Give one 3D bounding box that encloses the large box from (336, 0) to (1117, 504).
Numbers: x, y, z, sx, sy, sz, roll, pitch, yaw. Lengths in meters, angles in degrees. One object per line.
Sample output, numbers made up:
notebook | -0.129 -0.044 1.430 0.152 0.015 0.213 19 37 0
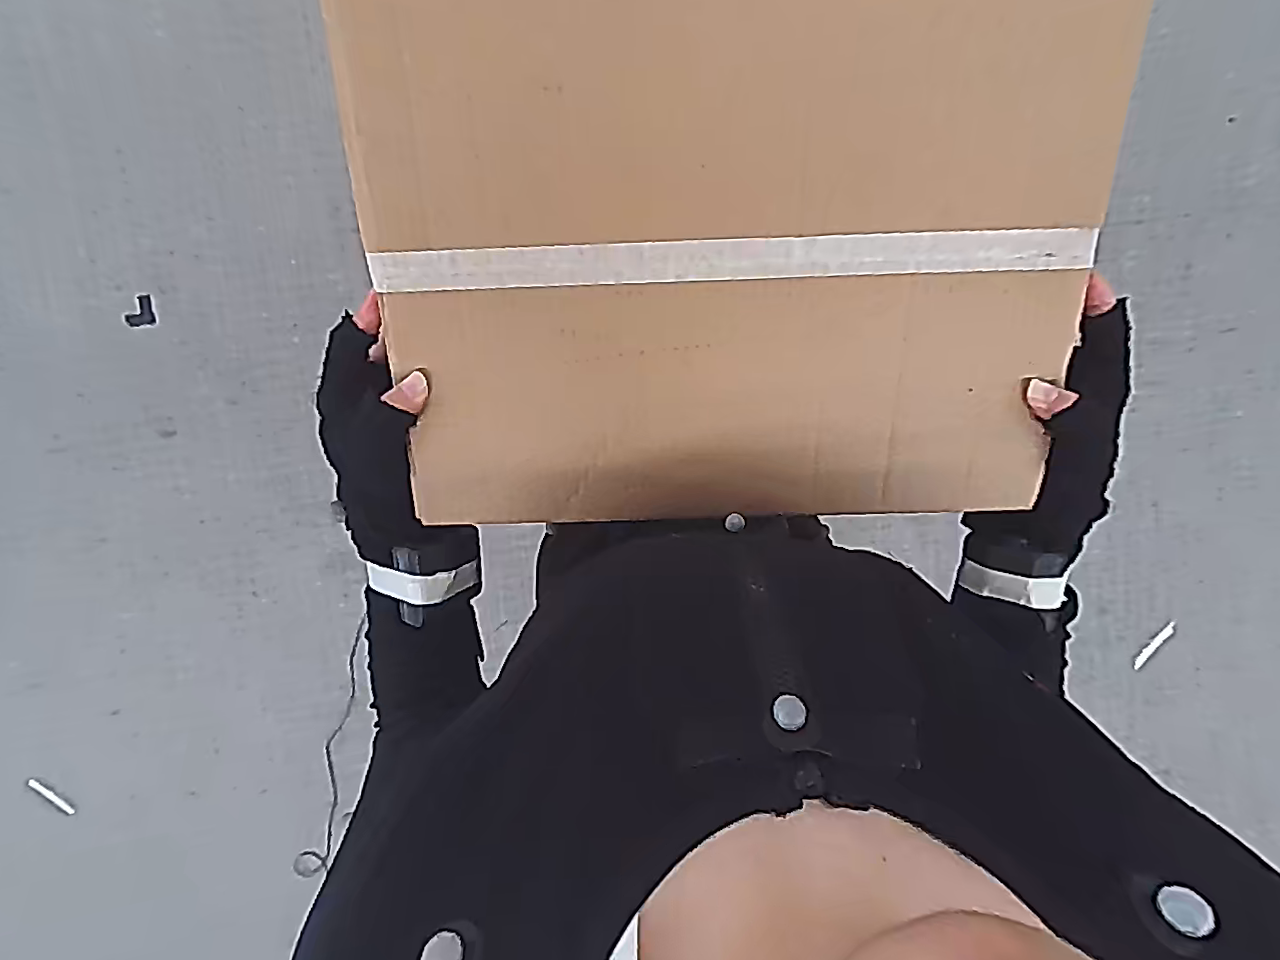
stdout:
large box | 0.045 -0.185 0.452 0.408 0.320 0.320 -2 111 0
